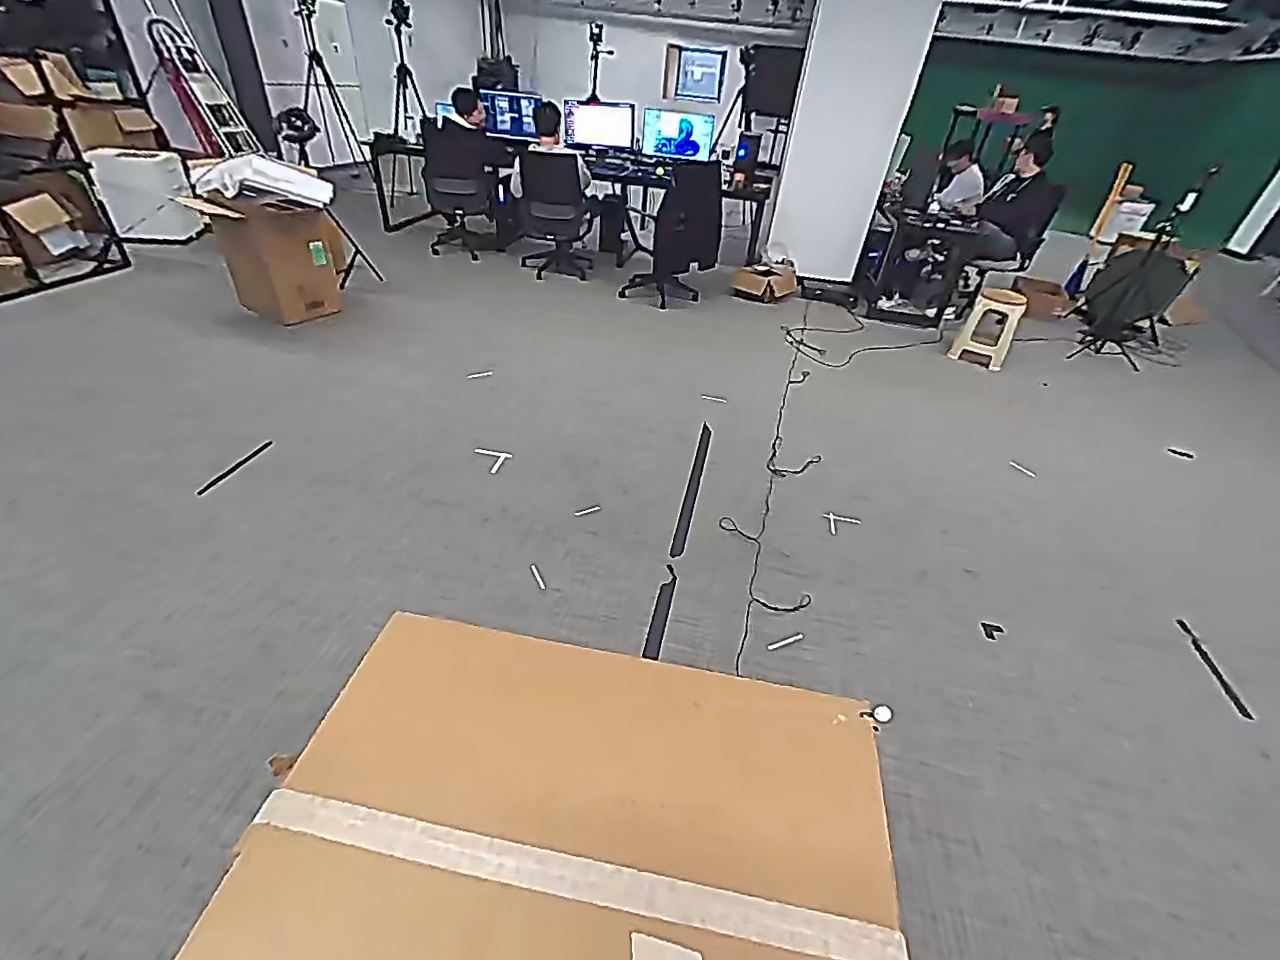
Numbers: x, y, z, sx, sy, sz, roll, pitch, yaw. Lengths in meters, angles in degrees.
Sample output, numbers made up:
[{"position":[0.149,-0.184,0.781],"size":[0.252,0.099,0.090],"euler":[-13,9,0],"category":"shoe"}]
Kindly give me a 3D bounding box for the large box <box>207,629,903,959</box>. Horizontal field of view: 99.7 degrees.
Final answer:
[{"position":[-0.047,0.367,0.438],"size":[0.408,0.320,0.320],"euler":[9,42,5],"category":"large box"}]
